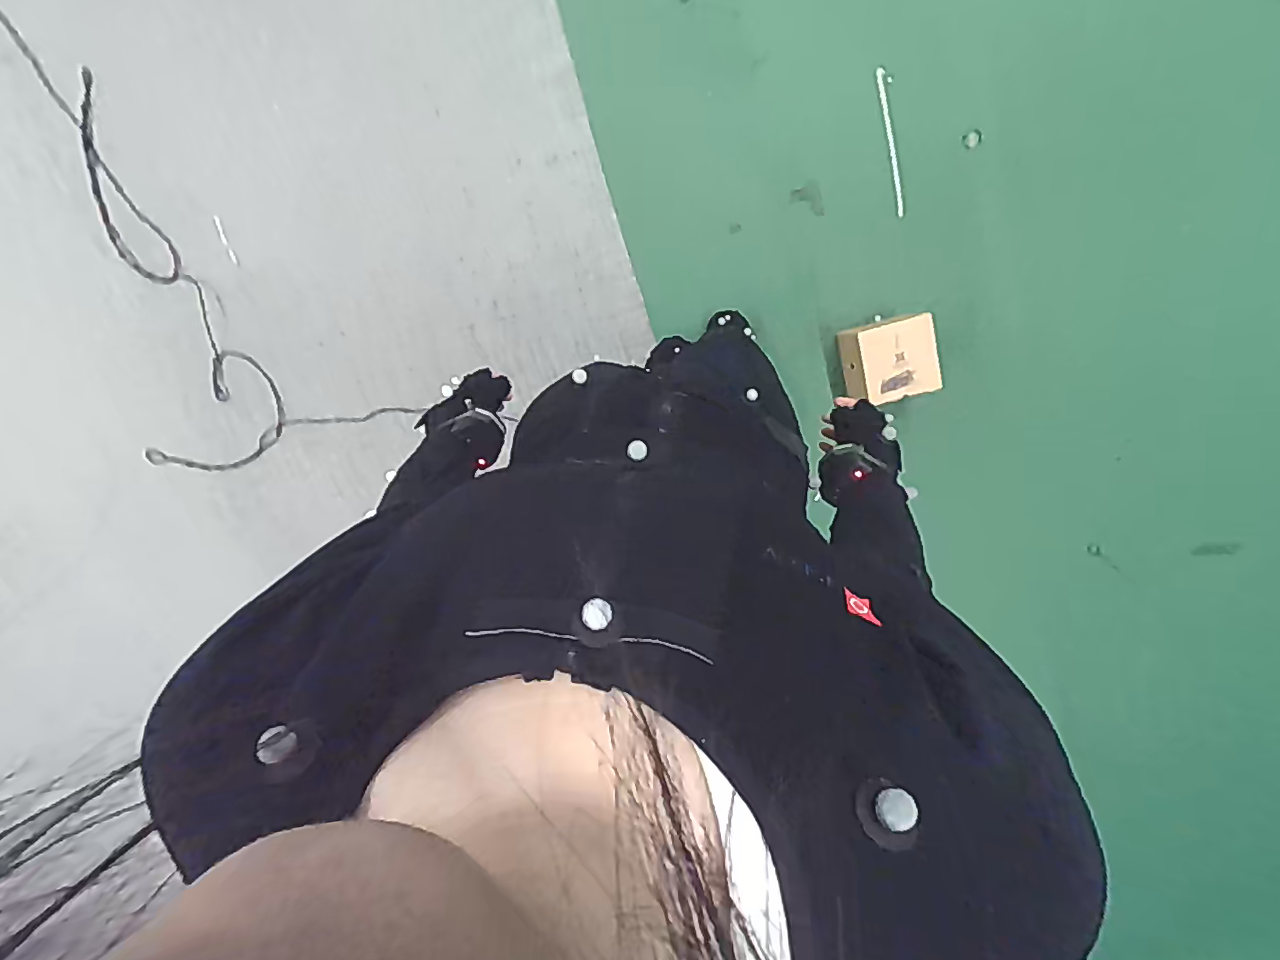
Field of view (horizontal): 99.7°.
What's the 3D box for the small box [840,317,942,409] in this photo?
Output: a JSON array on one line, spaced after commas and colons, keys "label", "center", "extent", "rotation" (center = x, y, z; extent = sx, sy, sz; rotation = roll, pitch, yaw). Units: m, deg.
[{"label": "small box", "center": [0.595, -0.284, 1.296], "extent": [0.168, 0.176, 0.179], "rotation": [-14, 104, 7]}]
